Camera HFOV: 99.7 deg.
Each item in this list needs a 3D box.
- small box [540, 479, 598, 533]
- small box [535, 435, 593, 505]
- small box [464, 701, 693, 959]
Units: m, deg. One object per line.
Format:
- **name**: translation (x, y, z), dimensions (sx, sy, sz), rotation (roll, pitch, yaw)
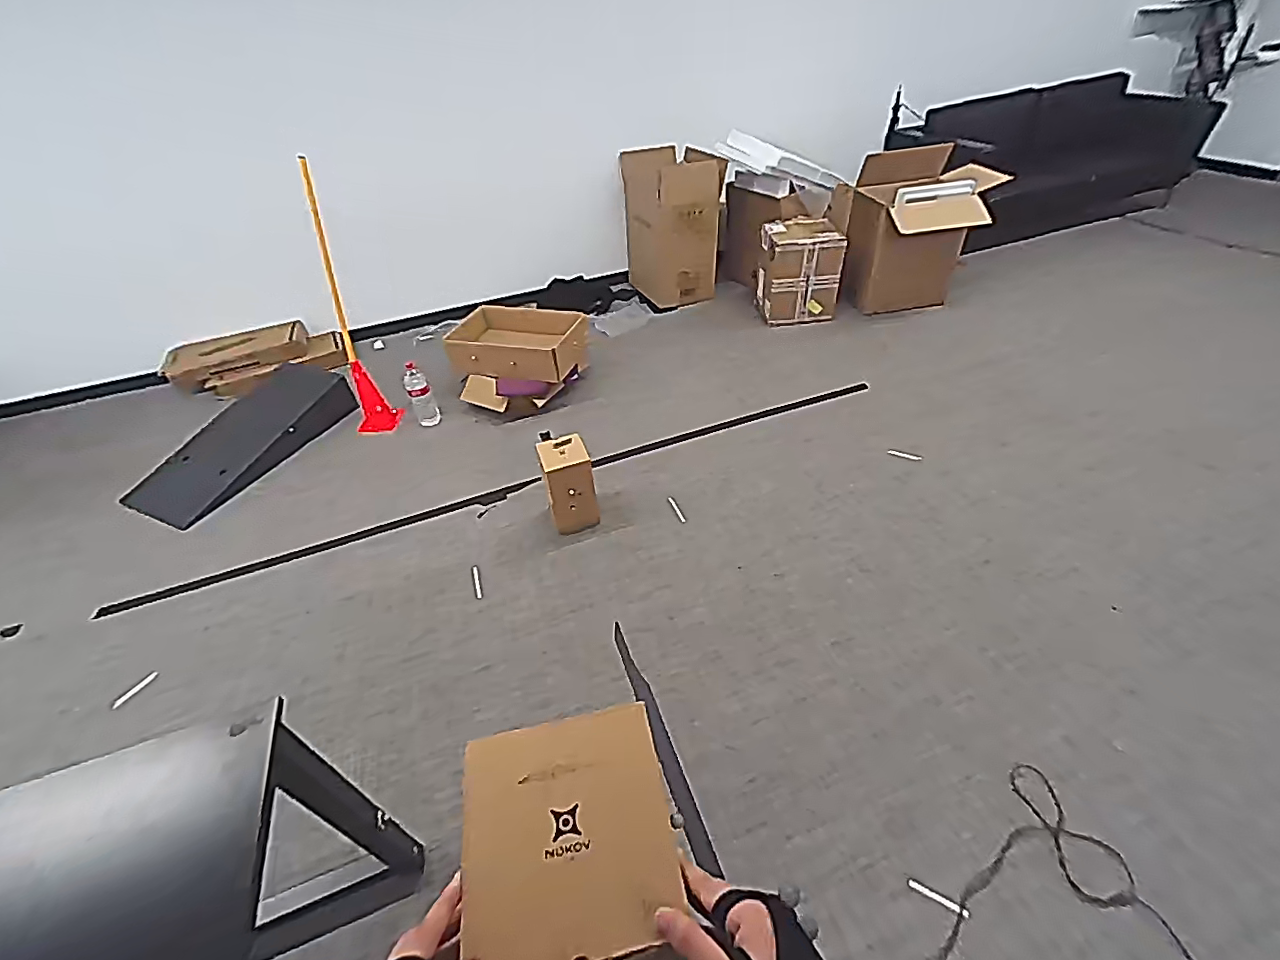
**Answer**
- **small box**: translation (-0.277, 0.084, 2.115), dimensions (0.179, 0.176, 0.168), rotation (-16, 43, -13)
- **small box**: translation (-0.282, -0.037, 2.003), dimensions (0.168, 0.176, 0.179), rotation (-16, 44, -13)
- **small box**: translation (-0.053, 0.334, 0.488), dimensions (0.168, 0.176, 0.179), rotation (-10, 44, -8)
